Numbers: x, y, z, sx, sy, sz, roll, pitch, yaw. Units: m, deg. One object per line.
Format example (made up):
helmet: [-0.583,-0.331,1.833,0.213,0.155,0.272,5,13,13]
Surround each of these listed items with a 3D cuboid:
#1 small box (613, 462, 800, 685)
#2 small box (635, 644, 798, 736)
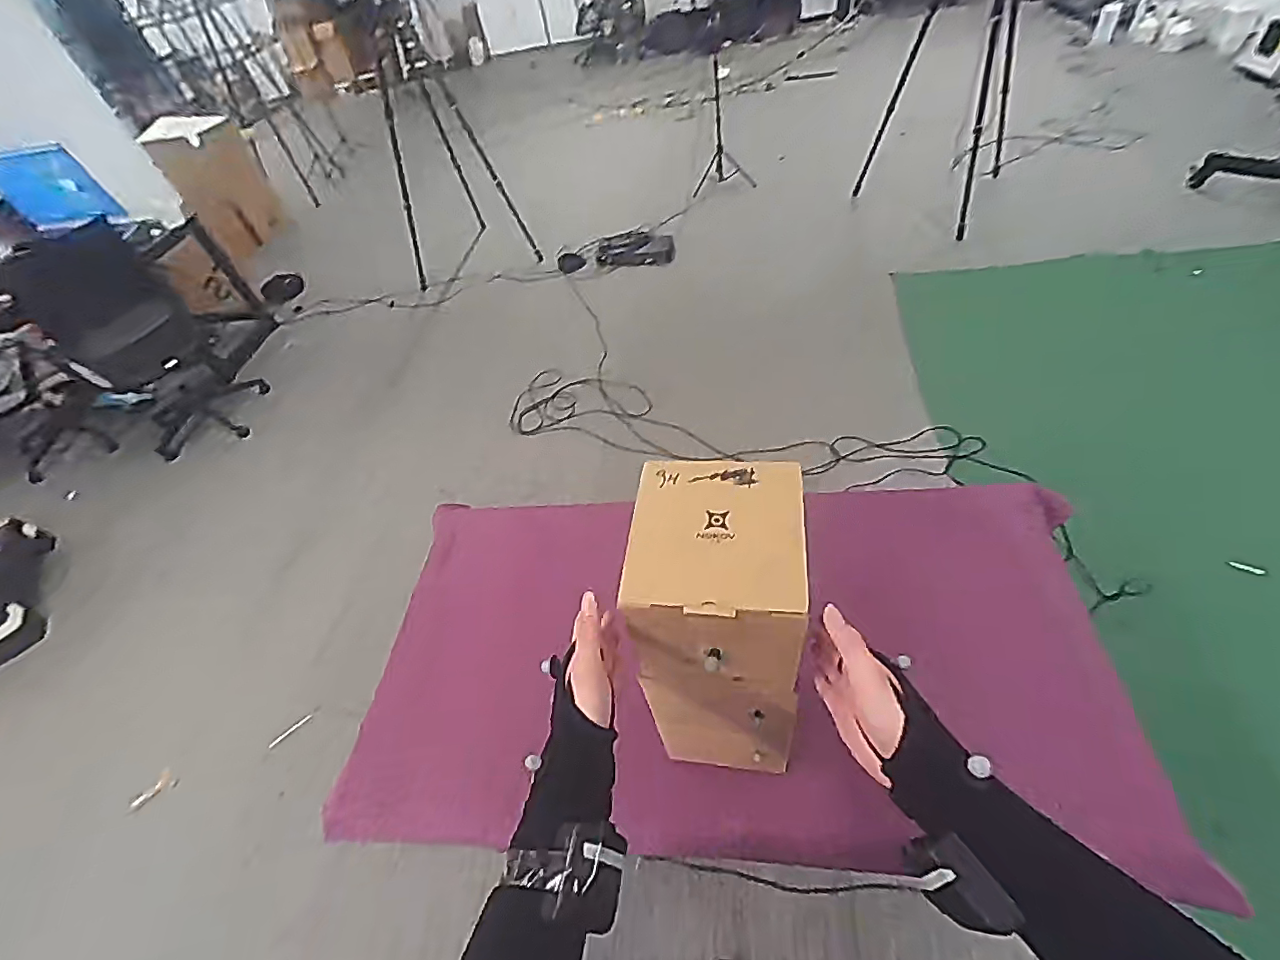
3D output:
small box: [0.080,0.100,0.574,0.168,0.176,0.179,1,50,12]
small box: [0.104,0.212,0.690,0.179,0.176,0.168,1,49,13]
